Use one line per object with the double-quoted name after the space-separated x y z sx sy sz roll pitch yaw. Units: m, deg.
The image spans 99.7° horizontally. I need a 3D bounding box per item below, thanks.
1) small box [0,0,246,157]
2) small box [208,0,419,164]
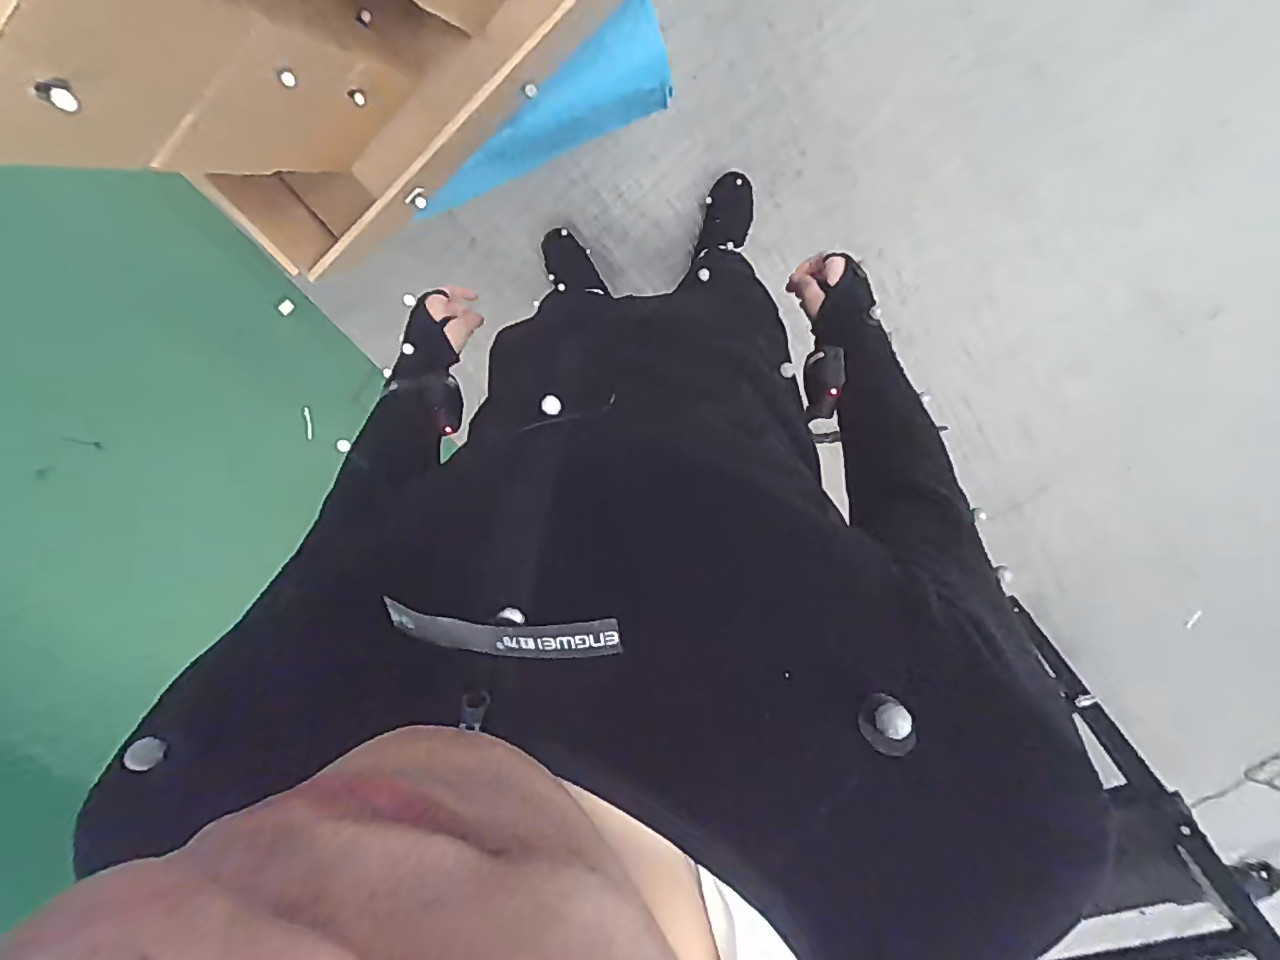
-0.429 -0.350 0.369 0.179 0.176 0.168 -31 113 18 "small box"
-0.407 -0.512 0.655 0.179 0.176 0.168 -33 112 20 "small box"
